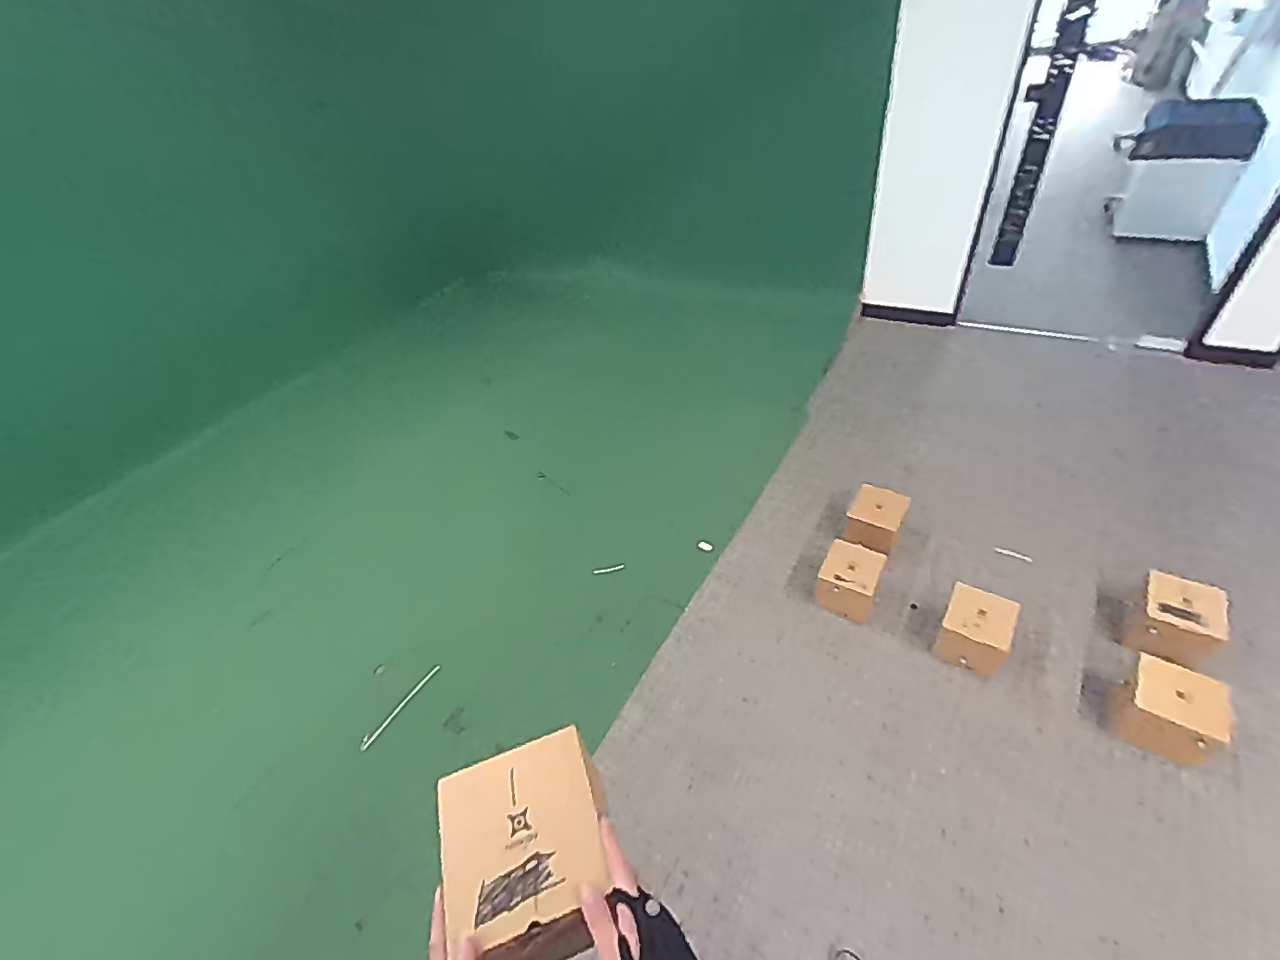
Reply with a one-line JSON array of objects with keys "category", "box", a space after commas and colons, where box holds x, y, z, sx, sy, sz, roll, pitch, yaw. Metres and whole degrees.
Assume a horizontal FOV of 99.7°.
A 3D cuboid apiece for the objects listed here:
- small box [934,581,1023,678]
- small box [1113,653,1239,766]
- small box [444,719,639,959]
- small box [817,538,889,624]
[{"category": "small box", "box": [0.972, 0.433, 1.562, 0.168, 0.176, 0.179, 20, 52, 30]}, {"category": "small box", "box": [1.321, 0.572, 1.342, 0.179, 0.176, 0.168, 21, 53, 29]}, {"category": "small box", "box": [-0.109, 0.413, 0.612, 0.168, 0.176, 0.179, -18, 41, -9]}, {"category": "small box", "box": [0.680, 0.325, 1.739, 0.168, 0.176, 0.179, 19, 50, 30]}]
